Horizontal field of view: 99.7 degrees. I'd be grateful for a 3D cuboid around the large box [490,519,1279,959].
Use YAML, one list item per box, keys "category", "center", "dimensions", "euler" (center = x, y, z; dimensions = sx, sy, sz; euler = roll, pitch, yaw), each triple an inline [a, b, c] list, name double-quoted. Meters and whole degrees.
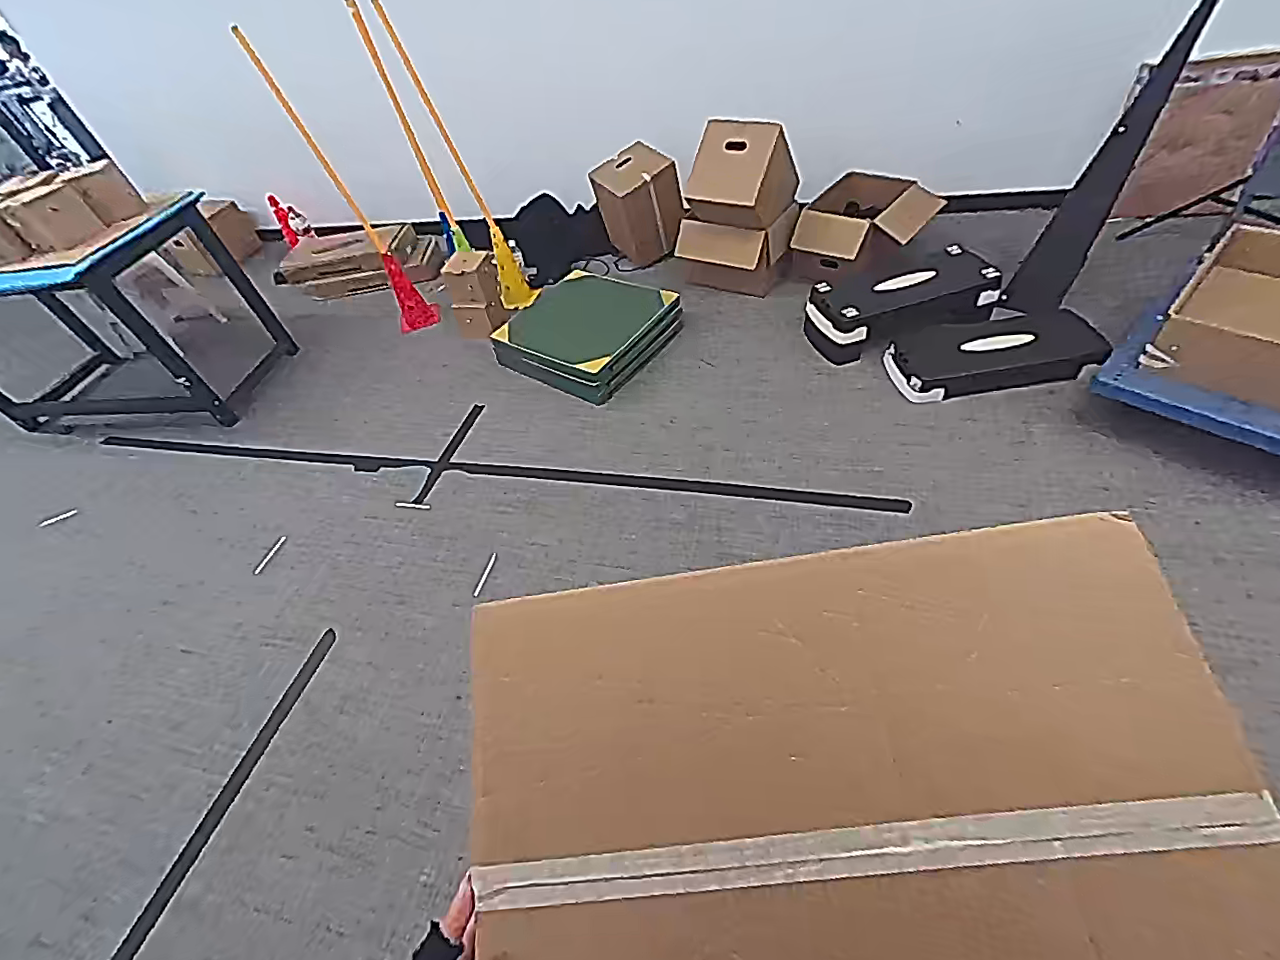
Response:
- category: "large box"
  center: [0.133, 0.252, 0.427]
  dimensions: [0.408, 0.320, 0.320]
  euler: [-10, 68, 7]
